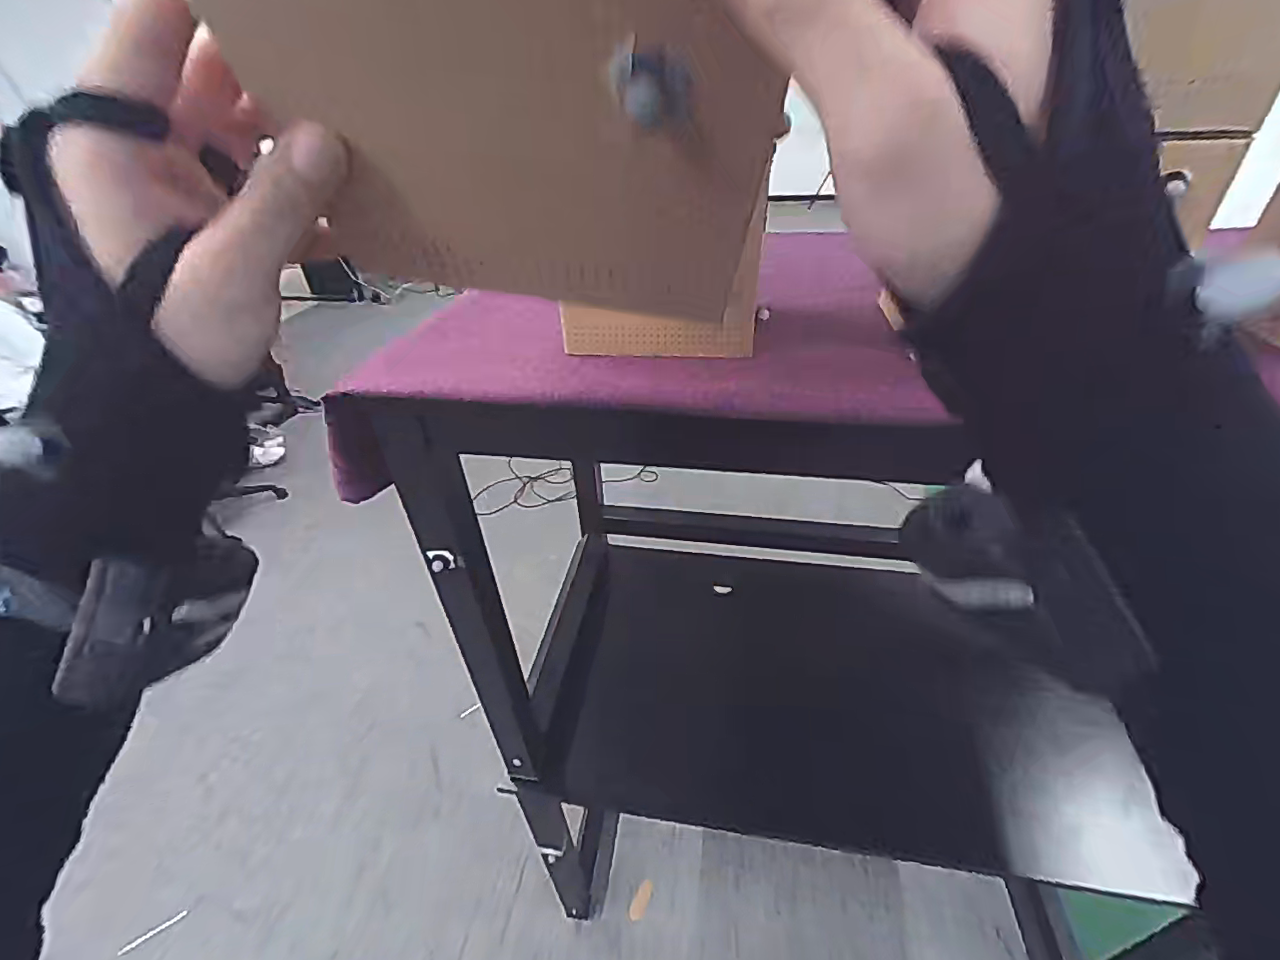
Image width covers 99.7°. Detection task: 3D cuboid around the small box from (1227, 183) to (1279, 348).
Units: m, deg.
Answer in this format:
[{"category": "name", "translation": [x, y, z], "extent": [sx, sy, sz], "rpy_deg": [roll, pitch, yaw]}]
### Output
[{"category": "small box", "translation": [0.627, -0.182, 0.416], "extent": [0.179, 0.176, 0.168], "rpy_deg": [6, 37, 13]}]
